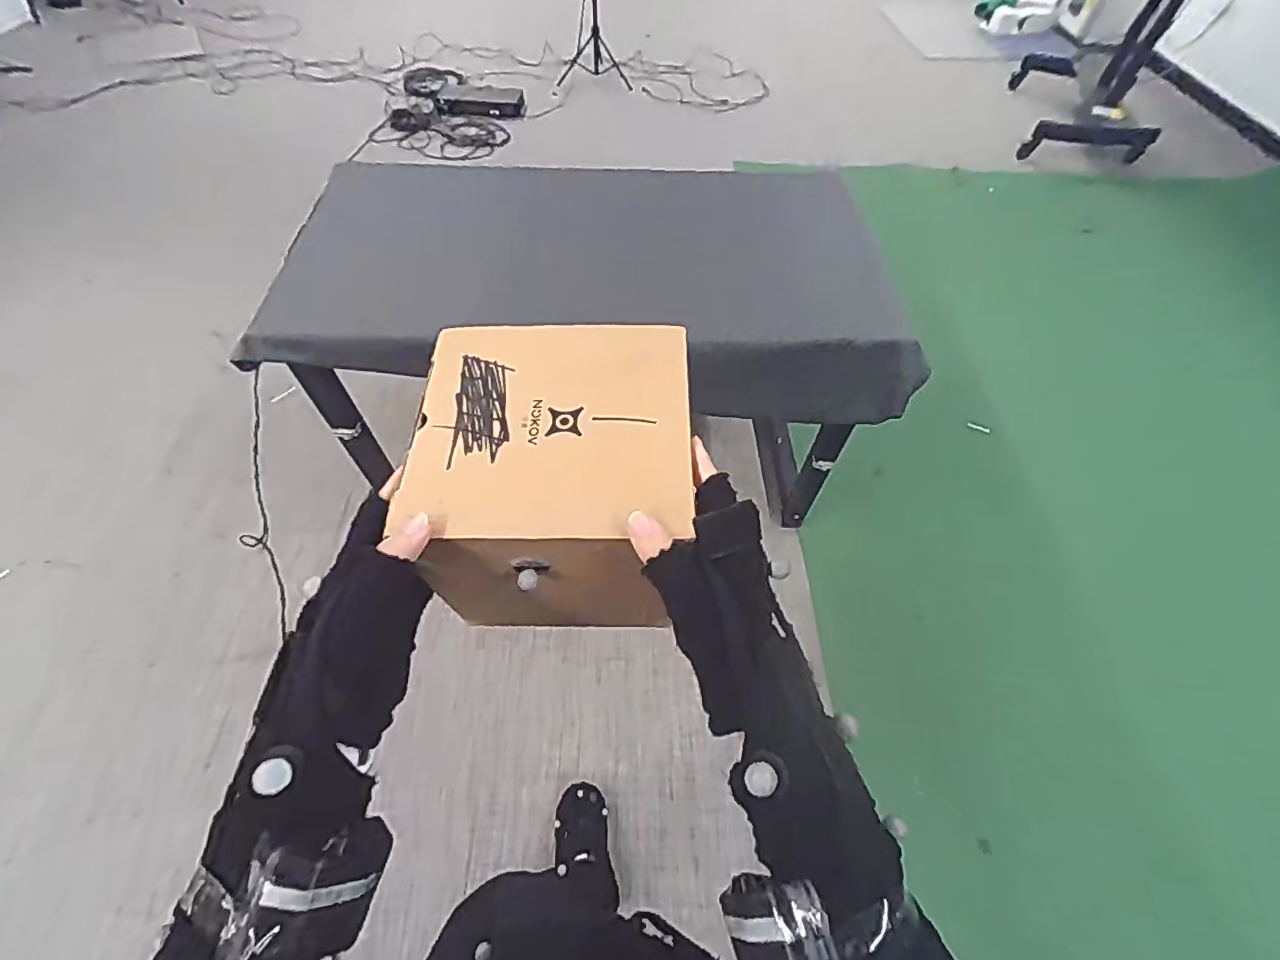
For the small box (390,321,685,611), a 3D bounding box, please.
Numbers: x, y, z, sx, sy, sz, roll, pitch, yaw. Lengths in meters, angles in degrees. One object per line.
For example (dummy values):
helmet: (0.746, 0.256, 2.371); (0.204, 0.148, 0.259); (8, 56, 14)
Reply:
small box: (-0.056, -0.003, 0.420); (0.179, 0.176, 0.168); (1, 59, 1)
